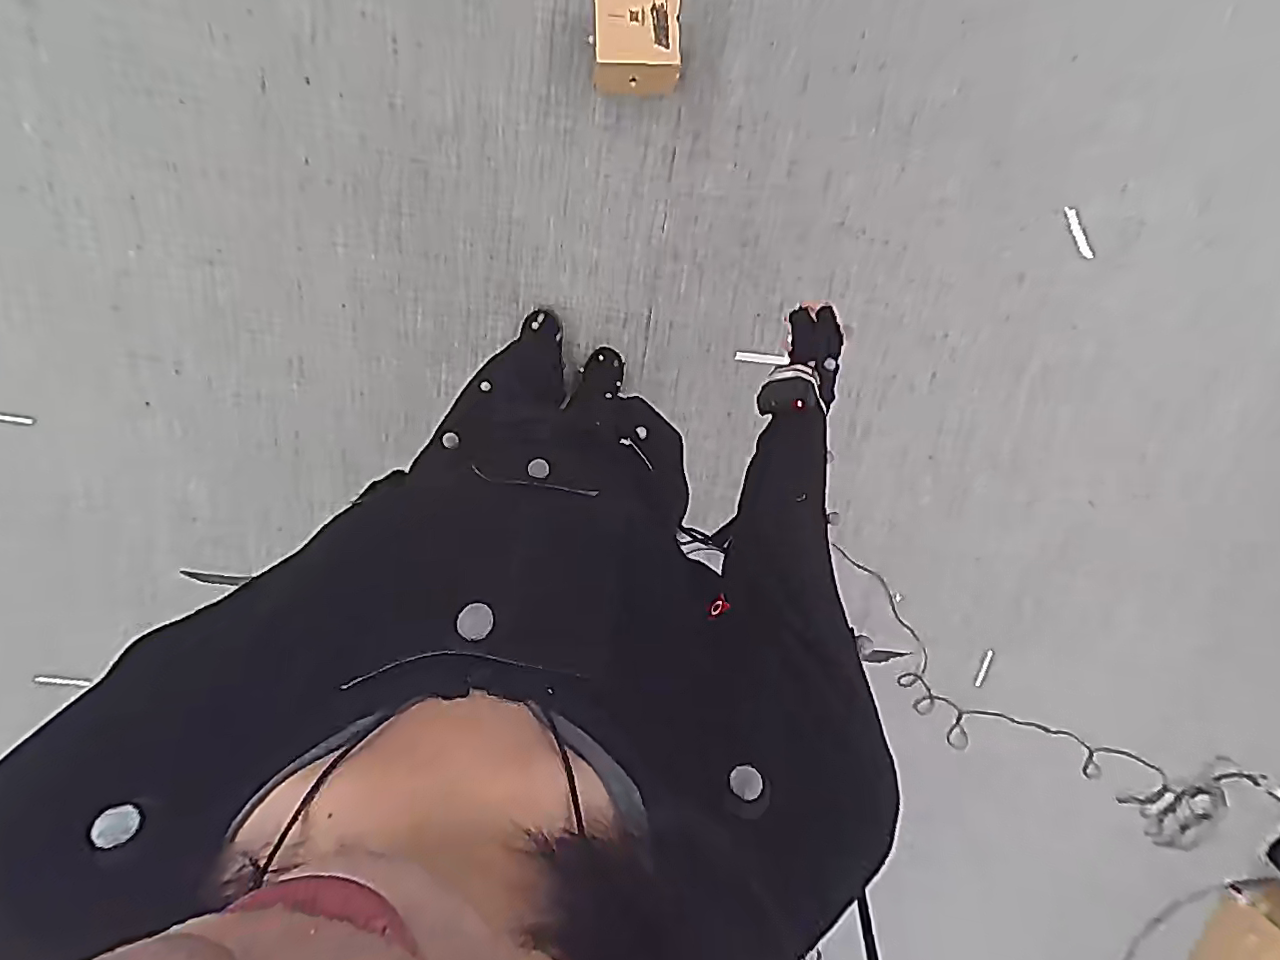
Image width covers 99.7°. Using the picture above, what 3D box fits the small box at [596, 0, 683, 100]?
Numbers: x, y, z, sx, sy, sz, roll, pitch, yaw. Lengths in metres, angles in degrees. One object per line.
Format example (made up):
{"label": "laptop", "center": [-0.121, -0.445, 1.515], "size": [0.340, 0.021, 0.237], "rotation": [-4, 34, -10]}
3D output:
{"label": "small box", "center": [-0.006, -0.949, 1.170], "size": [0.179, 0.176, 0.168], "rotation": [0, 106, -2]}
